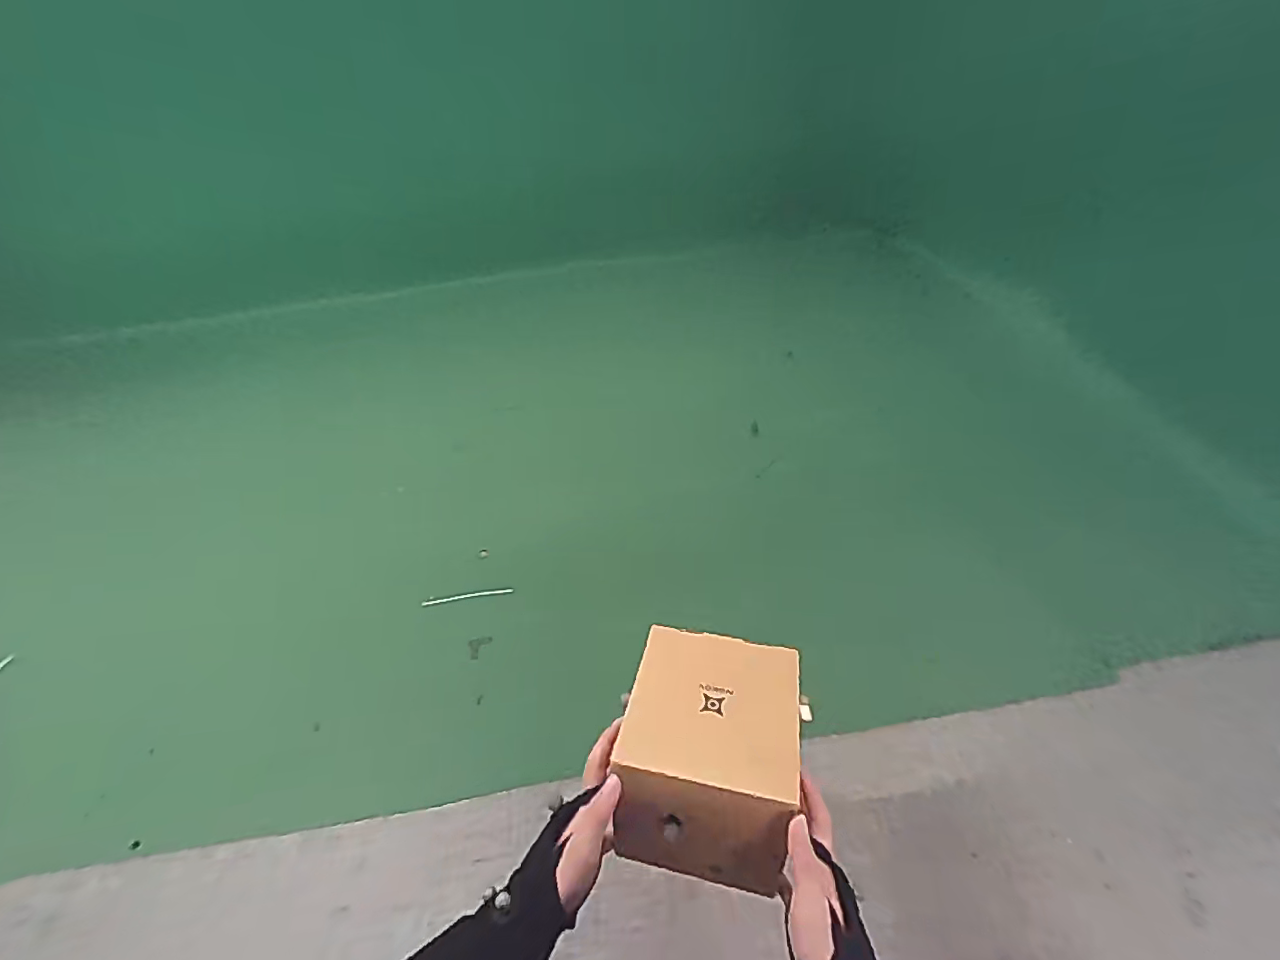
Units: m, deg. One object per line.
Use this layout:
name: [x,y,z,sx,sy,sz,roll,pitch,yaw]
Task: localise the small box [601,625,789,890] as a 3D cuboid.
small box: [0.065,0.286,0.571,0.168,0.176,0.179,6,30,11]
